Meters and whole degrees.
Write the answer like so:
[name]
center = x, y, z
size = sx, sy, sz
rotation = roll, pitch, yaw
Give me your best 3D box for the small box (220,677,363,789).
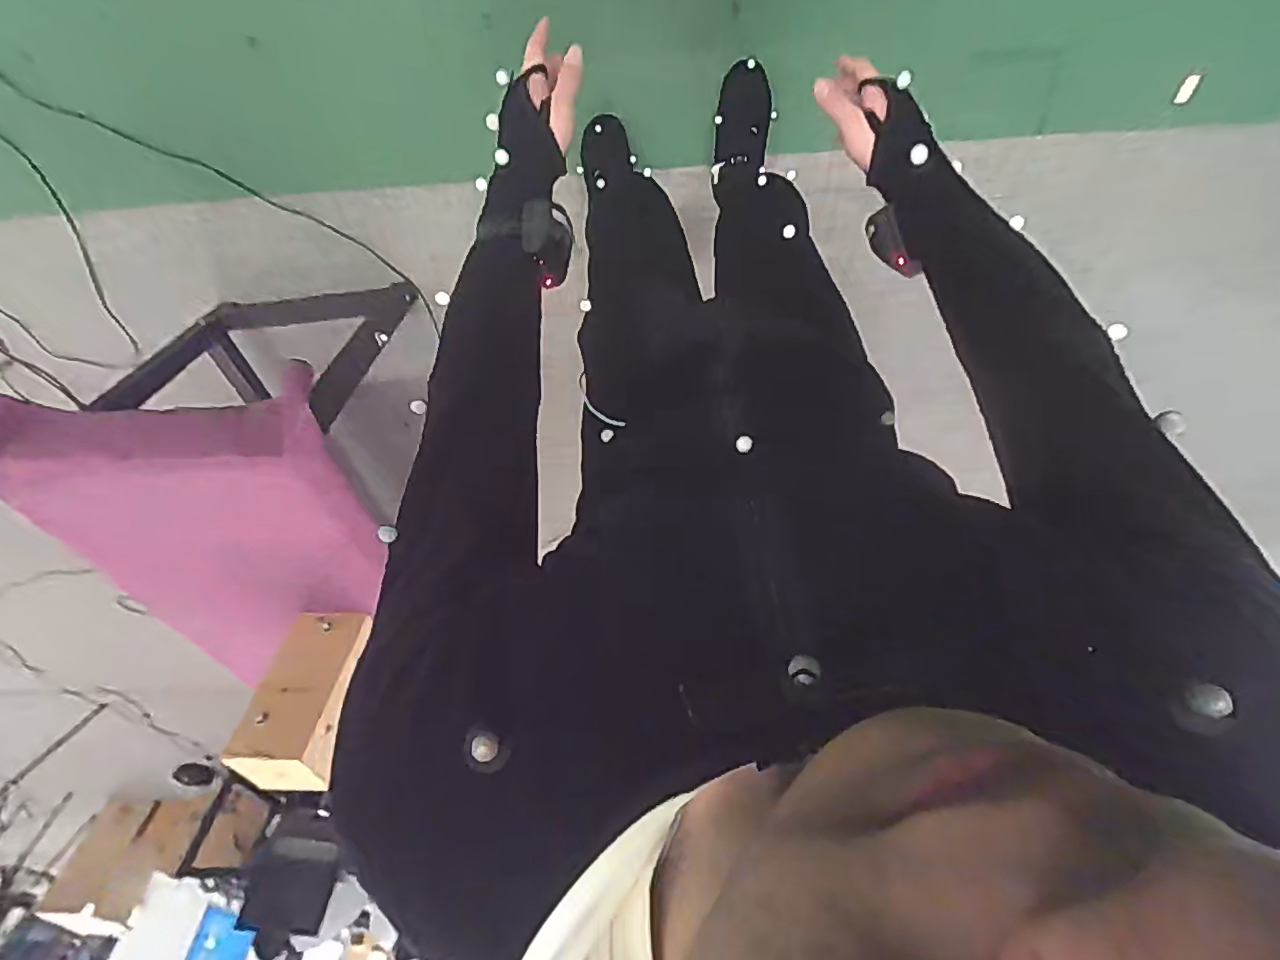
[small box]
center = -0.725, 0.535, 1.150
size = 0.168, 0.176, 0.179
rotation = 1, 133, 2
